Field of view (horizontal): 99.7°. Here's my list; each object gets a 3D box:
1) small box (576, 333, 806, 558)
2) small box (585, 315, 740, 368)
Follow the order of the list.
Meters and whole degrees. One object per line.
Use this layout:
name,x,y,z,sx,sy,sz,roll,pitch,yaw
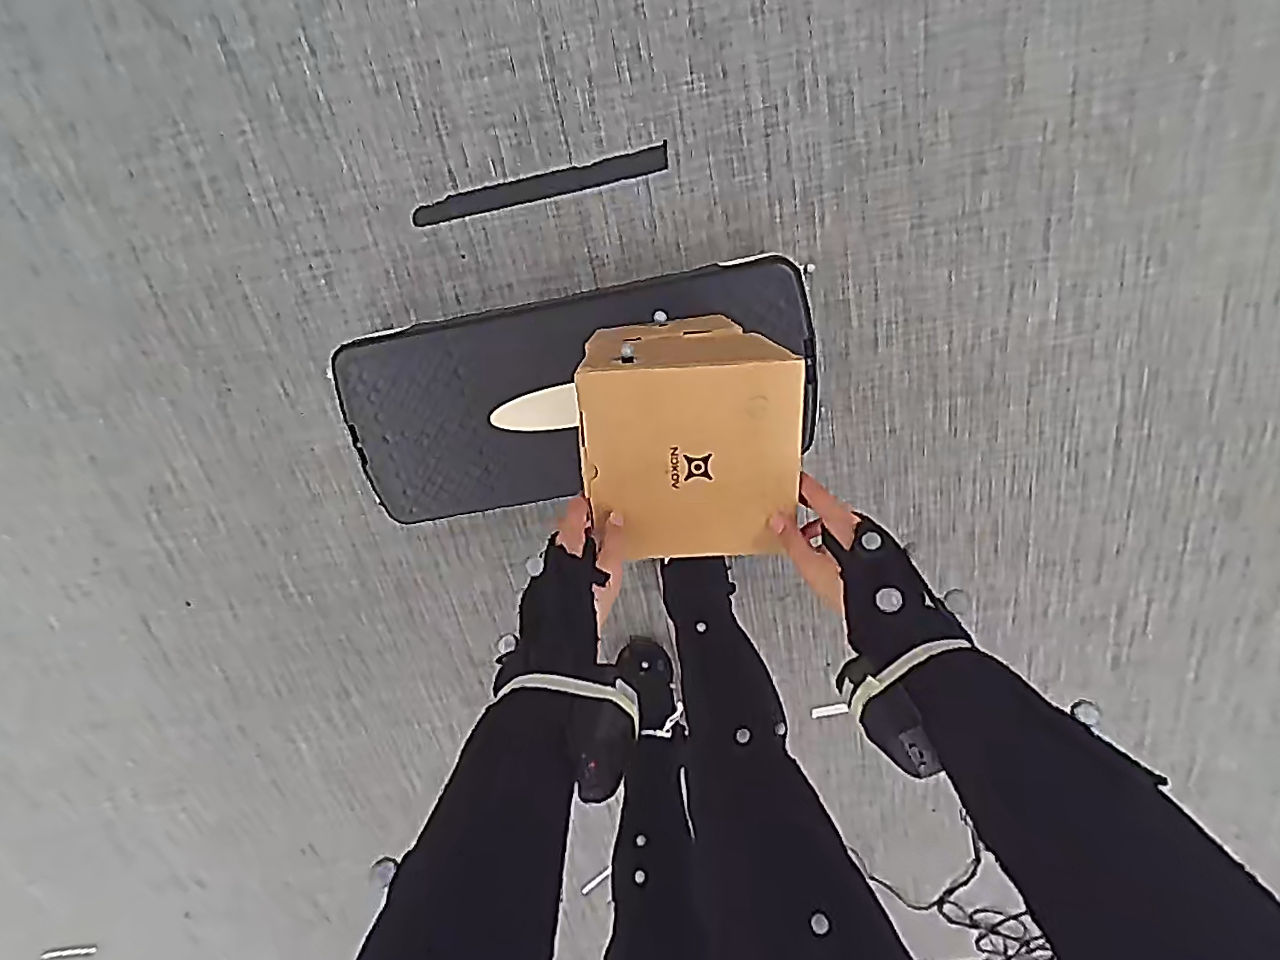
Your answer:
small box,0.042,-0.042,0.507,0.179,0.176,0.168,-3,112,3
small box,0.033,-0.098,0.660,0.168,0.176,0.179,-6,110,3
